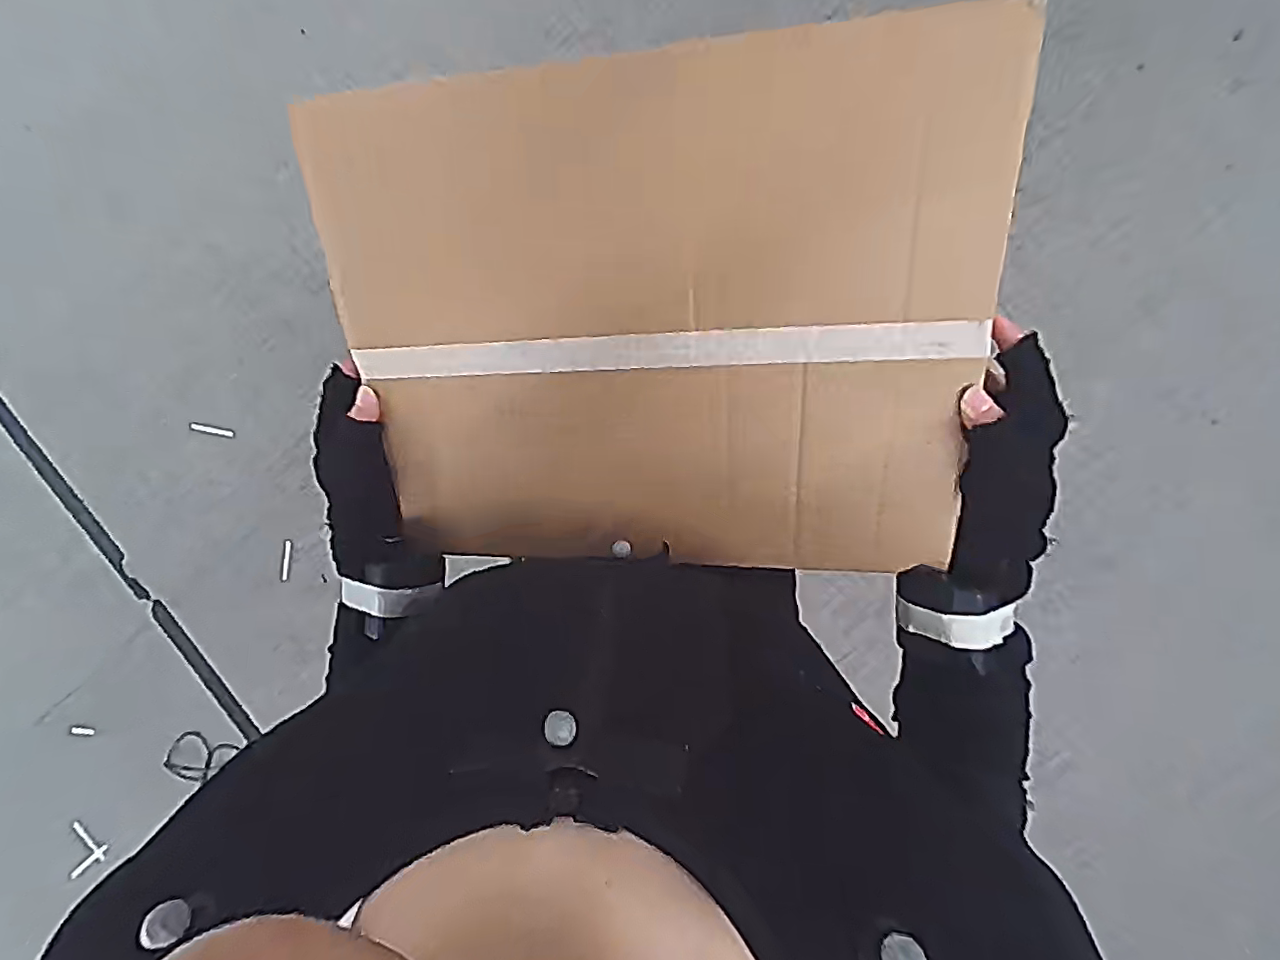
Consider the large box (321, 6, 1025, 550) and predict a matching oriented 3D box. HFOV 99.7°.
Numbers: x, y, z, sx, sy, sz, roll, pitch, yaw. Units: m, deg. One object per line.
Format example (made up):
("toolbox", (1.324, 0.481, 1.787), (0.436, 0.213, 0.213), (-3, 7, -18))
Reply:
("large box", (0.029, -0.148, 0.491), (0.408, 0.320, 0.320), (0, 115, 10))
